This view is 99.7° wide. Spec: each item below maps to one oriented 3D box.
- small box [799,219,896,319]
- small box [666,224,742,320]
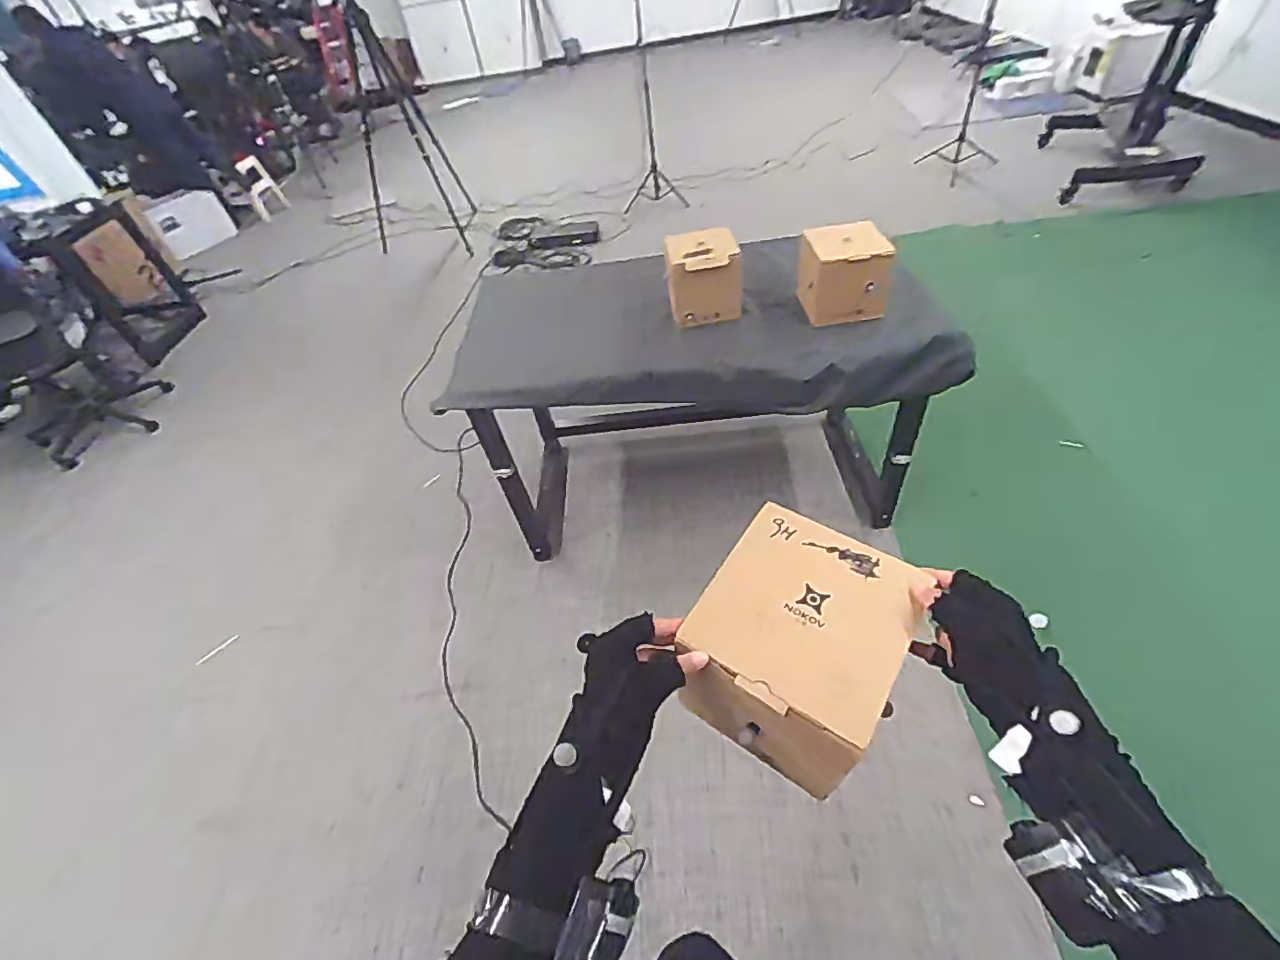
[{"bbox_3d":[0.488,-0.499,1.296,0.168,0.176,0.179,-7,45,3],"label":"small box"},{"bbox_3d":[0.164,-0.522,1.376,0.168,0.176,0.179,-8,45,2],"label":"small box"}]
